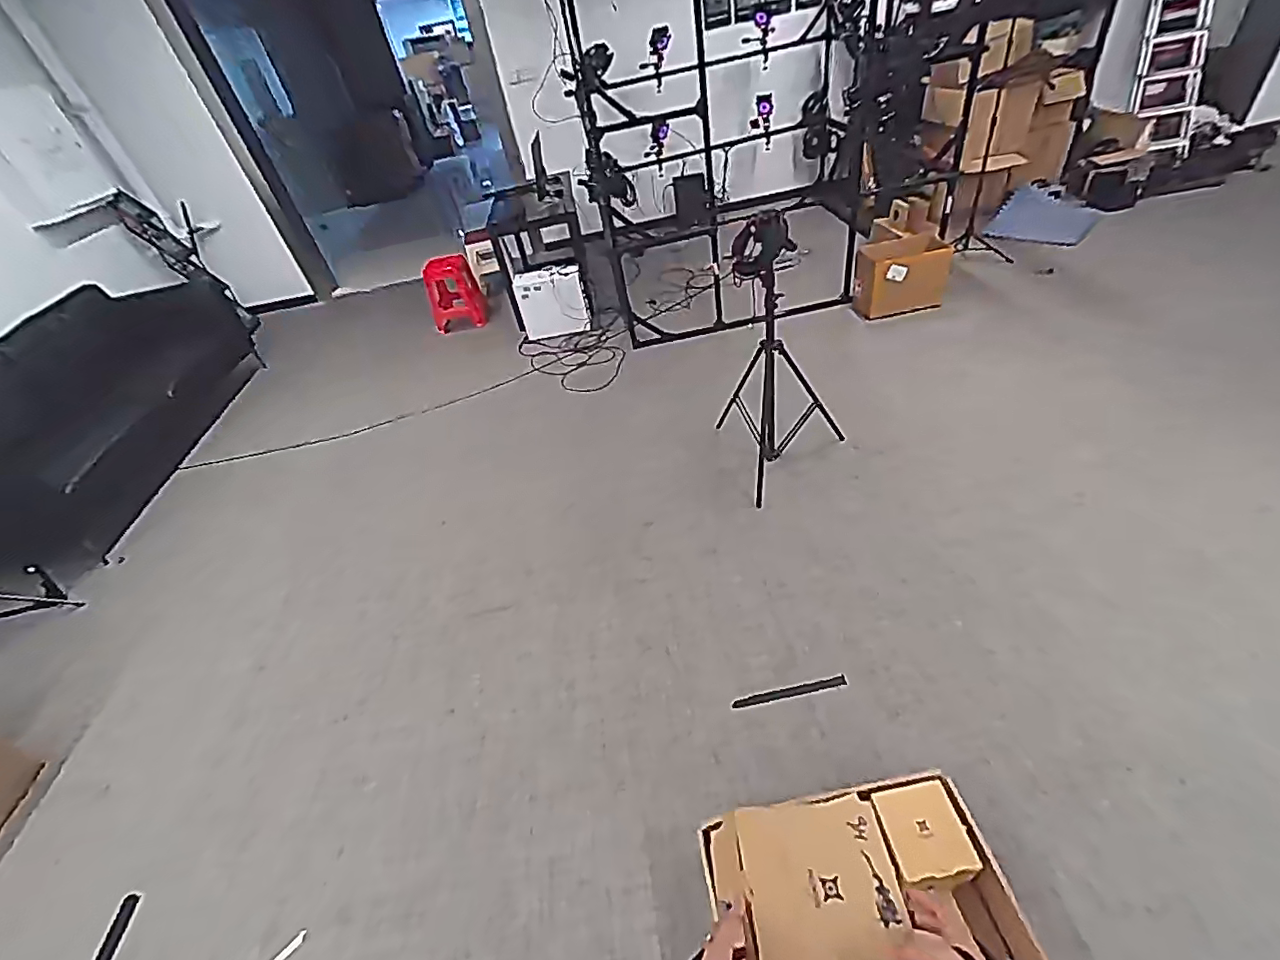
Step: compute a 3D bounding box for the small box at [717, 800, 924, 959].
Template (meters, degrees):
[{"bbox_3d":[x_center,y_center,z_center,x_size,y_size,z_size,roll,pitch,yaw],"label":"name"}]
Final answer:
[{"bbox_3d":[0.192,0.499,0.639,0.179,0.176,0.168,0,44,-5],"label":"small box"}]
